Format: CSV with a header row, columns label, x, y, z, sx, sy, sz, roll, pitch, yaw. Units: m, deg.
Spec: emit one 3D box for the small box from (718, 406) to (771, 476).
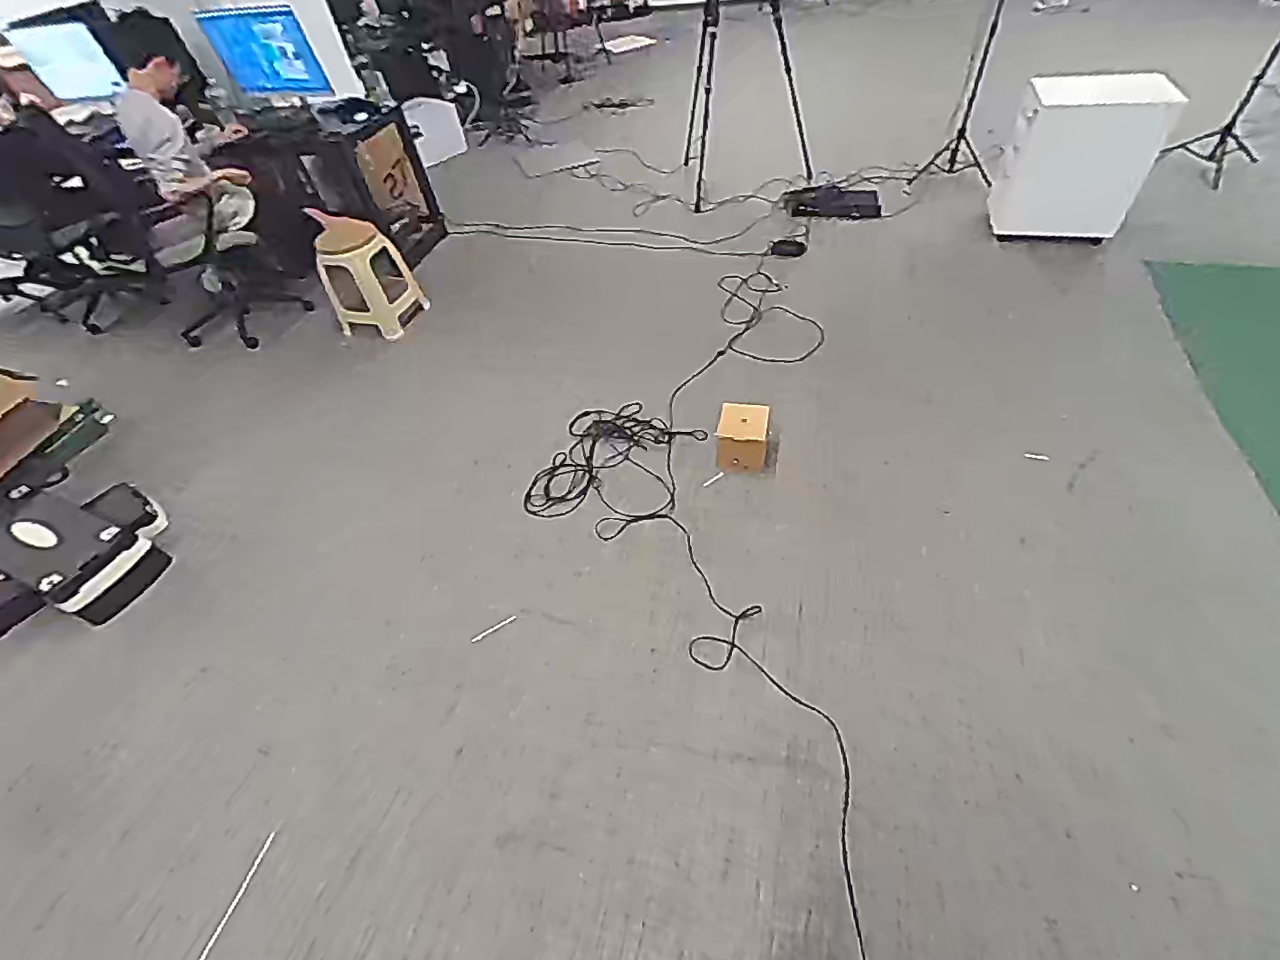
label,x,y,z,sx,sy,sz,roll,pitch,yaw
small box,0.372,-0.141,1.938,0.168,0.176,0.179,6,51,14
